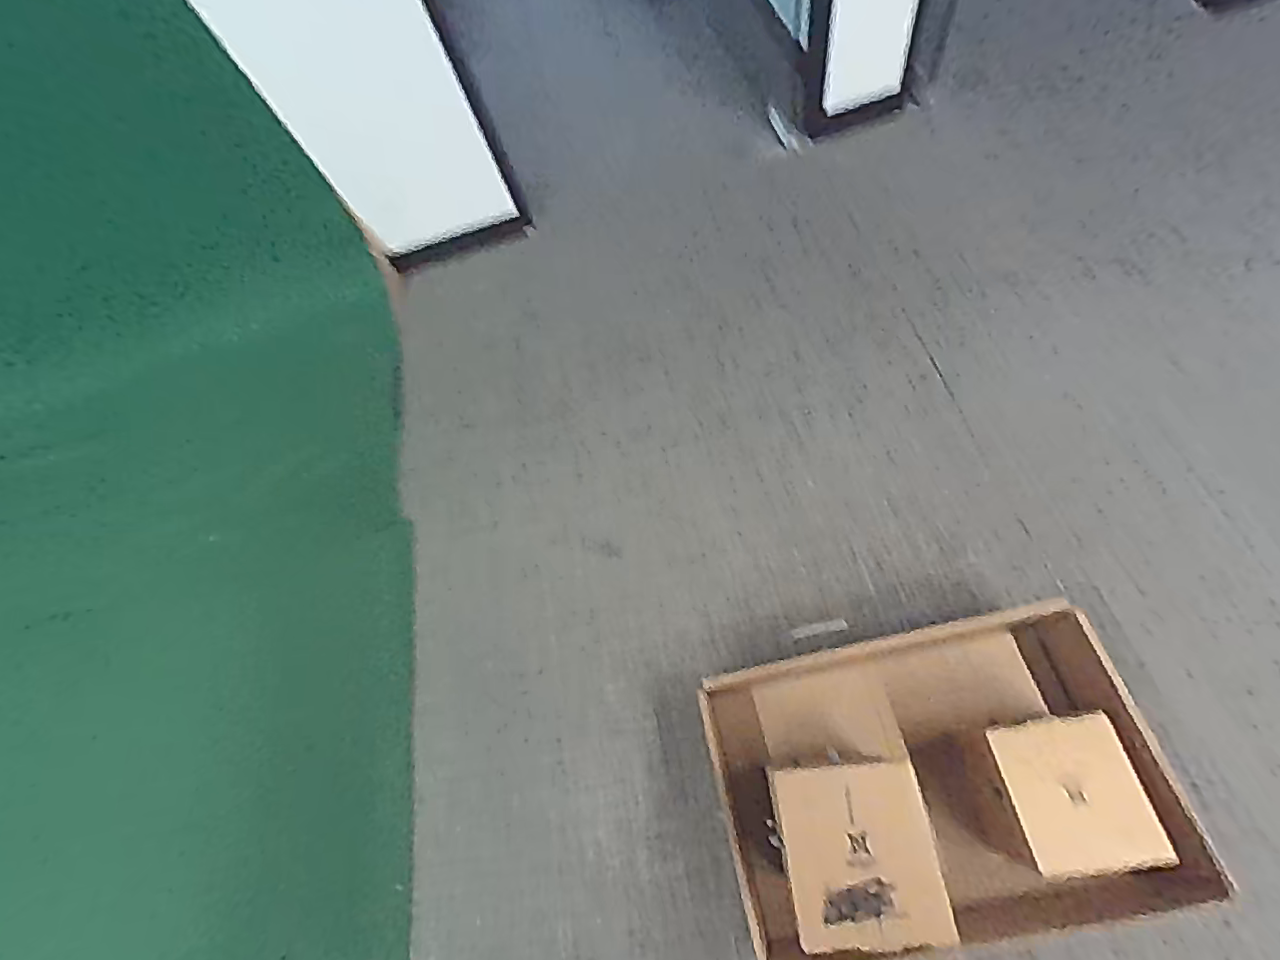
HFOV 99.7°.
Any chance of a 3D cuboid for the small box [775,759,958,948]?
[{"bbox_3d":[0.270,0.461,0.691,0.168,0.176,0.179,-9,62,8],"label":"small box"}]
